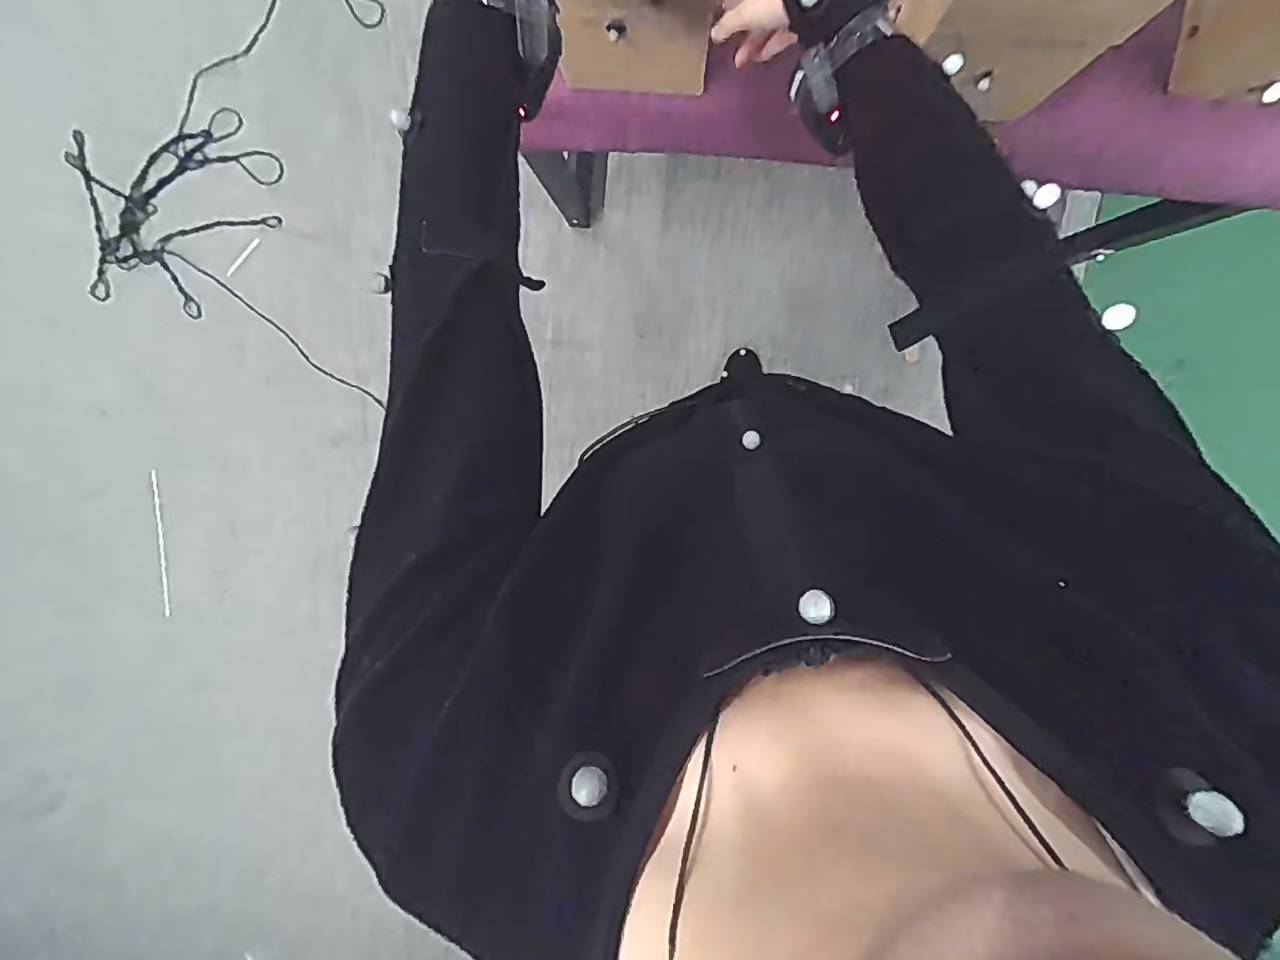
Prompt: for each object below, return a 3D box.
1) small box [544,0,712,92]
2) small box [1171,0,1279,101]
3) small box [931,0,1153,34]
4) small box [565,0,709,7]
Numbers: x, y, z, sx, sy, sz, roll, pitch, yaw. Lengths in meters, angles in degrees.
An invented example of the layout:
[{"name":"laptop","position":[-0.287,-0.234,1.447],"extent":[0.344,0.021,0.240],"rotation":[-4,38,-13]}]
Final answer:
[{"name":"small box","position":[-0.007,-0.562,0.596],"extent":[0.179,0.176,0.168],"rotation":[5,99,3]},{"name":"small box","position":[0.715,-0.516,0.545],"extent":[0.179,0.176,0.168],"rotation":[6,98,5]},{"name":"small box","position":[0.359,-0.485,0.412],"extent":[0.179,0.176,0.168],"rotation":[7,98,5]},{"name":"small box","position":[-0.012,-0.527,0.435],"extent":[0.168,0.176,0.179],"rotation":[1,99,4]}]
